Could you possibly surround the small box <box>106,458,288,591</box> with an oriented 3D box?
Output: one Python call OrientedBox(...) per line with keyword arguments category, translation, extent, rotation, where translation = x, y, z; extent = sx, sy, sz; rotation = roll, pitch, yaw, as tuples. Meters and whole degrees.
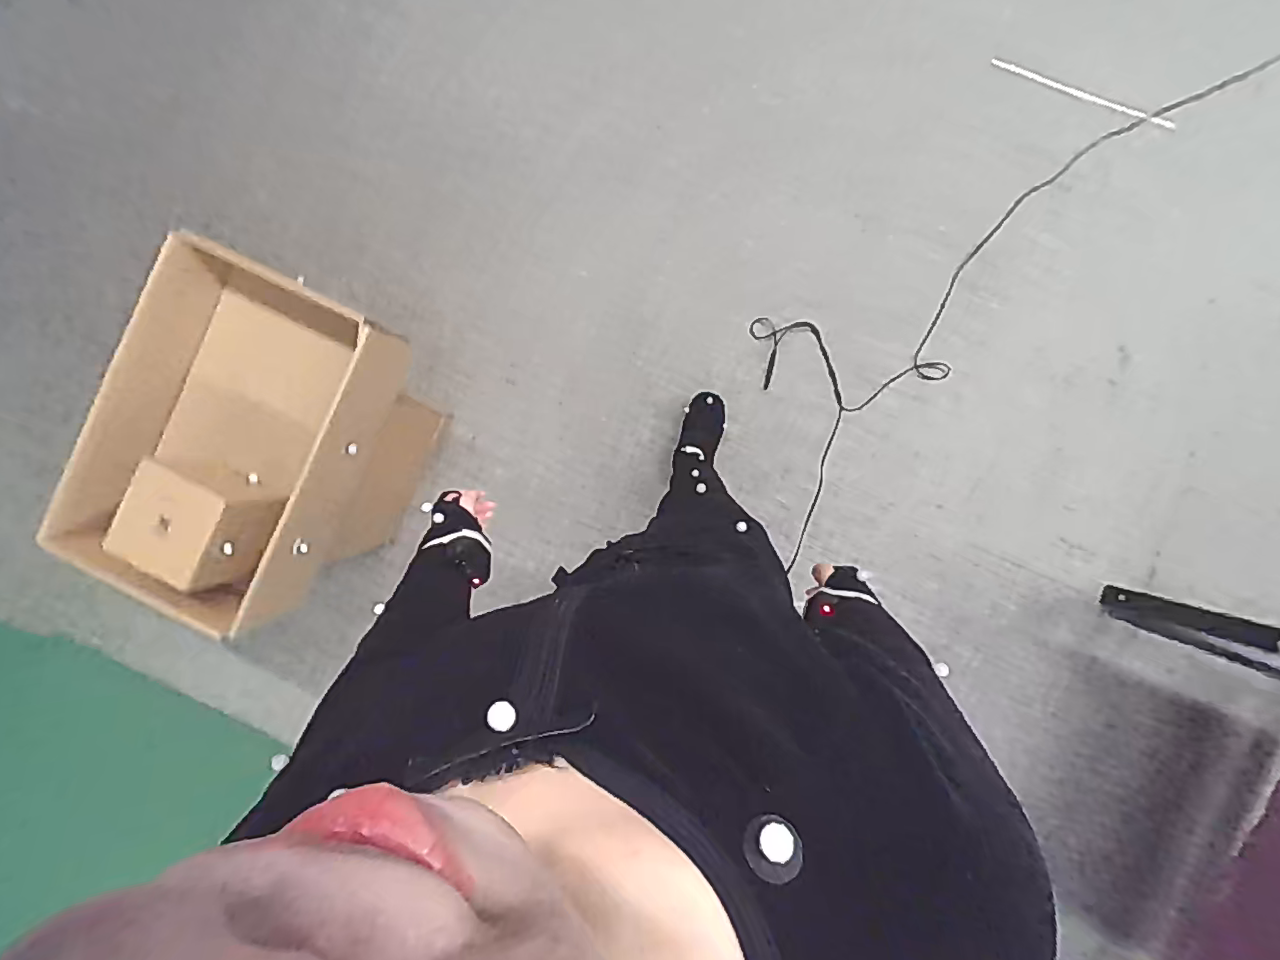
OrientedBox(category="small box", translation=(-0.795, 0.073, 0.991), extent=(0.168, 0.176, 0.179), rotation=(27, 94, 2))
